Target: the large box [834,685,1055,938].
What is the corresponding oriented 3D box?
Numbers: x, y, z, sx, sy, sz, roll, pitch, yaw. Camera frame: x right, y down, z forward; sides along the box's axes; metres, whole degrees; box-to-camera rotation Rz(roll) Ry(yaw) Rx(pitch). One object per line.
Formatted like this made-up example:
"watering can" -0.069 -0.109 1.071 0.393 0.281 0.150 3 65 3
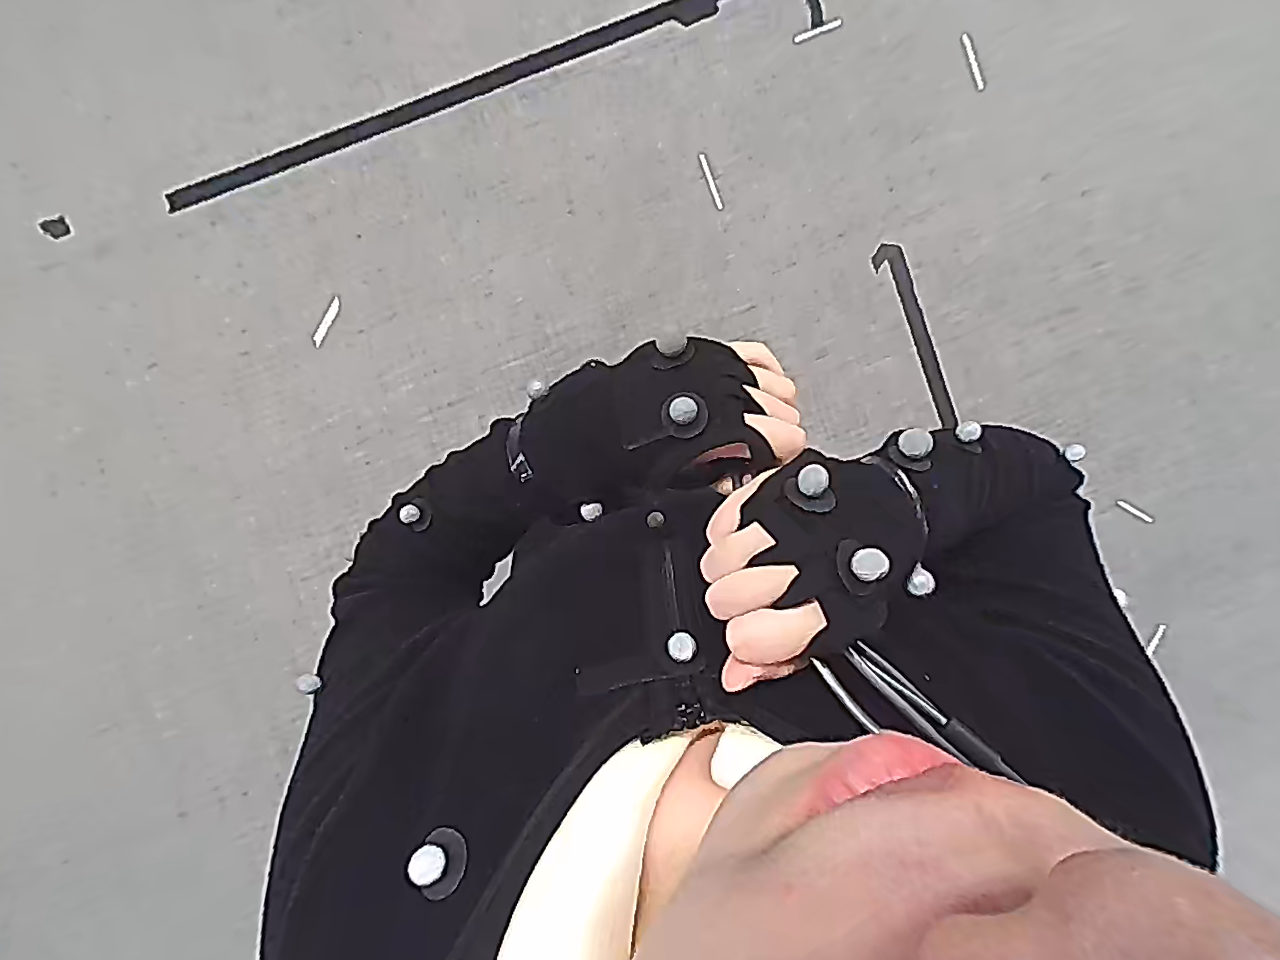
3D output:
"large box" 0.674 0.732 1.252 0.320 0.320 0.408 4 94 -3
